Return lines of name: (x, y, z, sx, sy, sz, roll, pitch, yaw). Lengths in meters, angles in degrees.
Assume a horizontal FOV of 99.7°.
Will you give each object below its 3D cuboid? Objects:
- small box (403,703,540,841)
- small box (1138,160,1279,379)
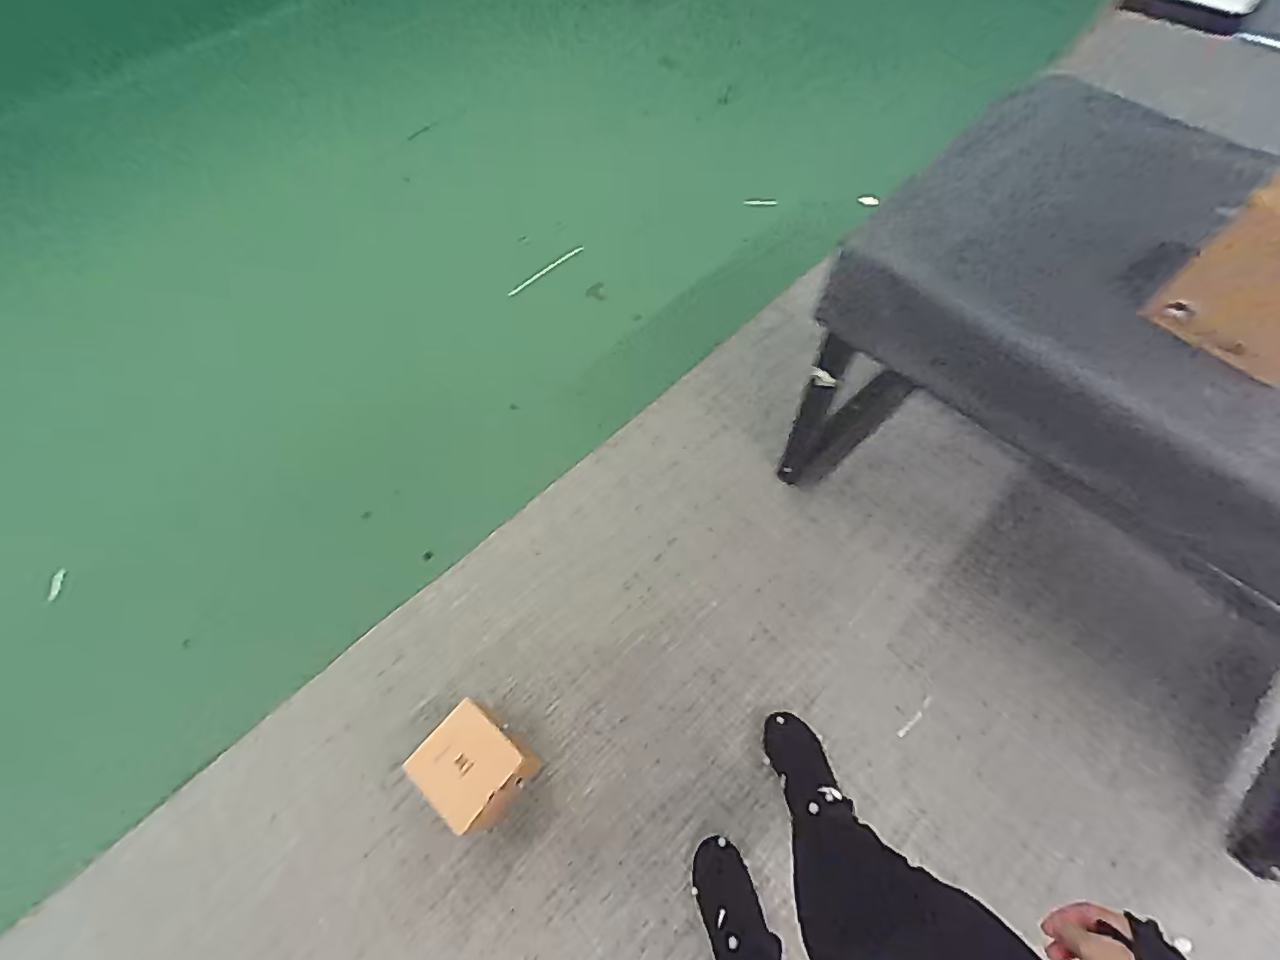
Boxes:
small box: (-0.326, 0.578, 1.084, 0.179, 0.176, 0.168, 35, 68, 21)
small box: (0.752, -0.252, 0.633, 0.179, 0.176, 0.168, -37, 66, -17)
